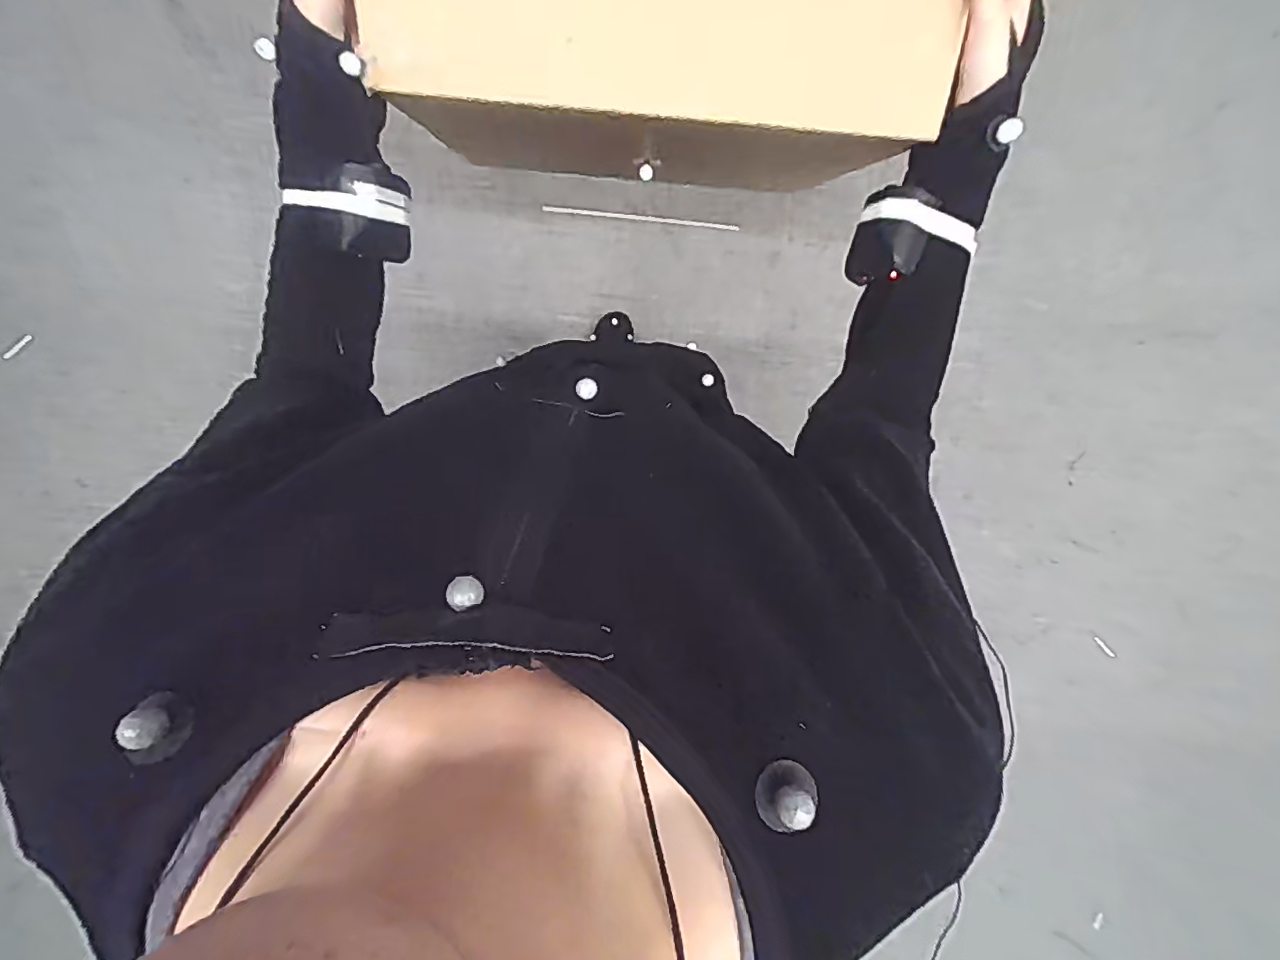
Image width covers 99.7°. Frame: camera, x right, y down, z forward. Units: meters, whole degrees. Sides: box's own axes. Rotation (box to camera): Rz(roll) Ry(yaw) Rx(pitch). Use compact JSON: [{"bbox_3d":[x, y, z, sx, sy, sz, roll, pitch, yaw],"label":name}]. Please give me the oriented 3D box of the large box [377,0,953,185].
[{"bbox_3d":[0.020,-0.458,0.477,0.408,0.320,0.320,2,111,-4],"label":"large box"}]
